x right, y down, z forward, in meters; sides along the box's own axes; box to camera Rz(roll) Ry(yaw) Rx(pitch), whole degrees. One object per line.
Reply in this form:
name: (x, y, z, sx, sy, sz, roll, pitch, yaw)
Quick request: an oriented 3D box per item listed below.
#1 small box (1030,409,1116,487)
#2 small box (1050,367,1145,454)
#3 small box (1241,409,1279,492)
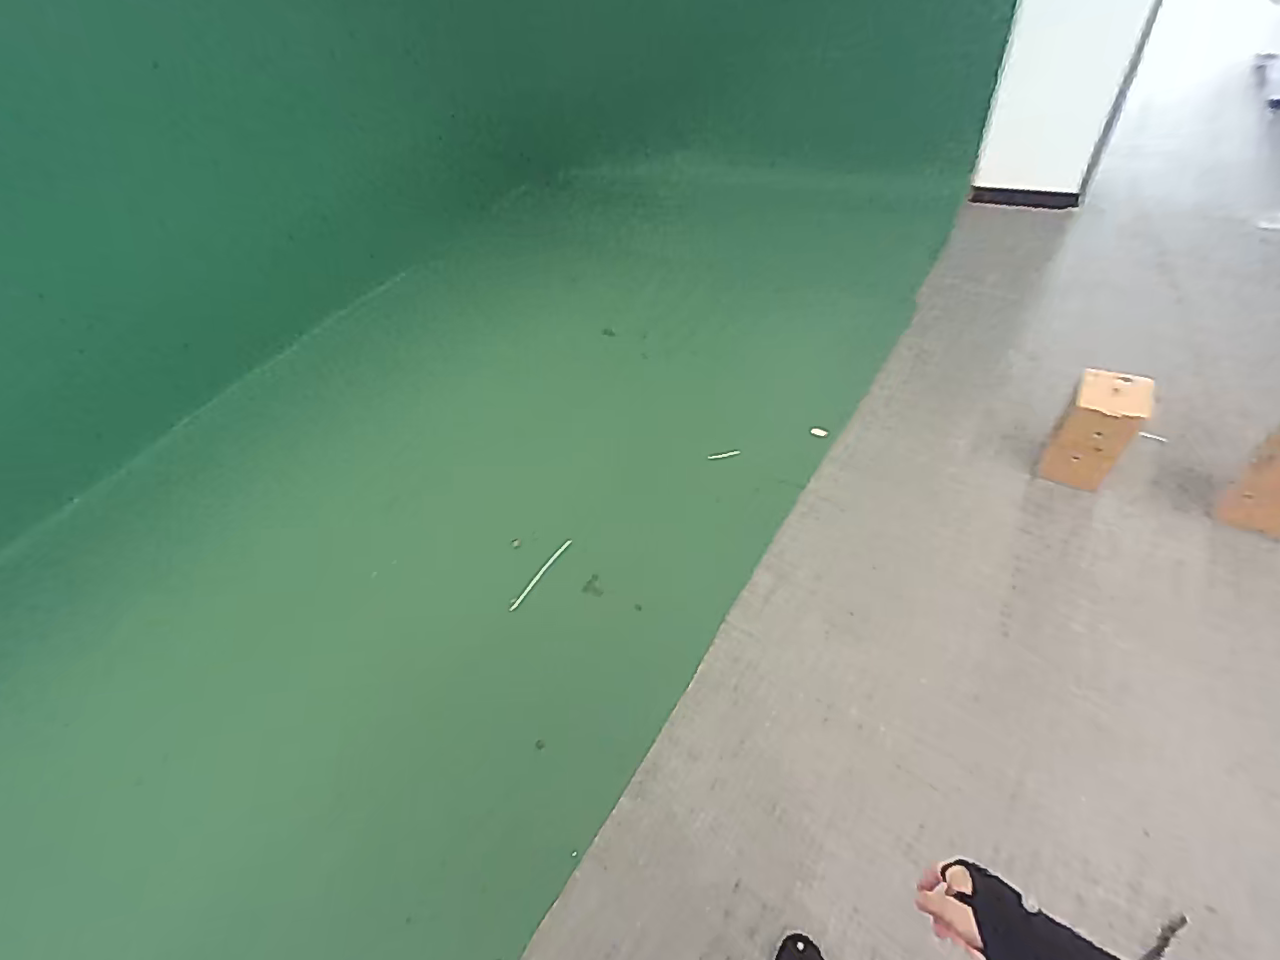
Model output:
small box: (1.396, -0.103, 1.740, 0.179, 0.176, 0.168, 23, 60, 28)
small box: (1.362, -0.206, 1.618, 0.168, 0.176, 0.179, 20, 59, 26)
small box: (1.736, -0.066, 1.409, 0.179, 0.176, 0.168, 25, 62, 29)
